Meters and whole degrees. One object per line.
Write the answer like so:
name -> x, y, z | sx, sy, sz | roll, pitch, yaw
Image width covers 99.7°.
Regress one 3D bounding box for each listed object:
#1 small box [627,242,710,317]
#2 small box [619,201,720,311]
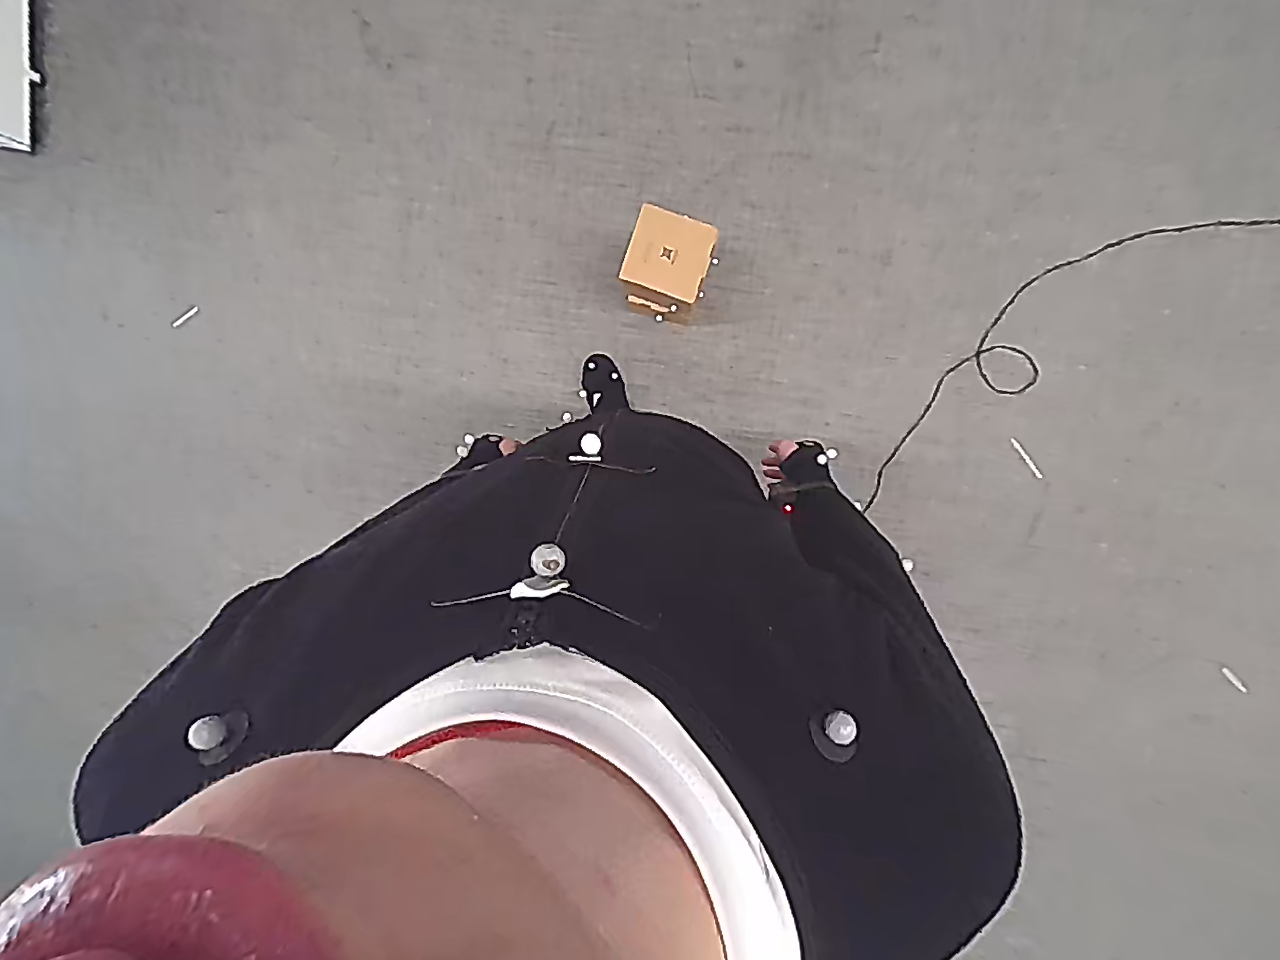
small box -> 0.080, -0.532, 1.392 | 0.179, 0.176, 0.168 | -14, 96, 8
small box -> 0.070, -0.502, 1.240 | 0.179, 0.176, 0.168 | 21, 98, 3
